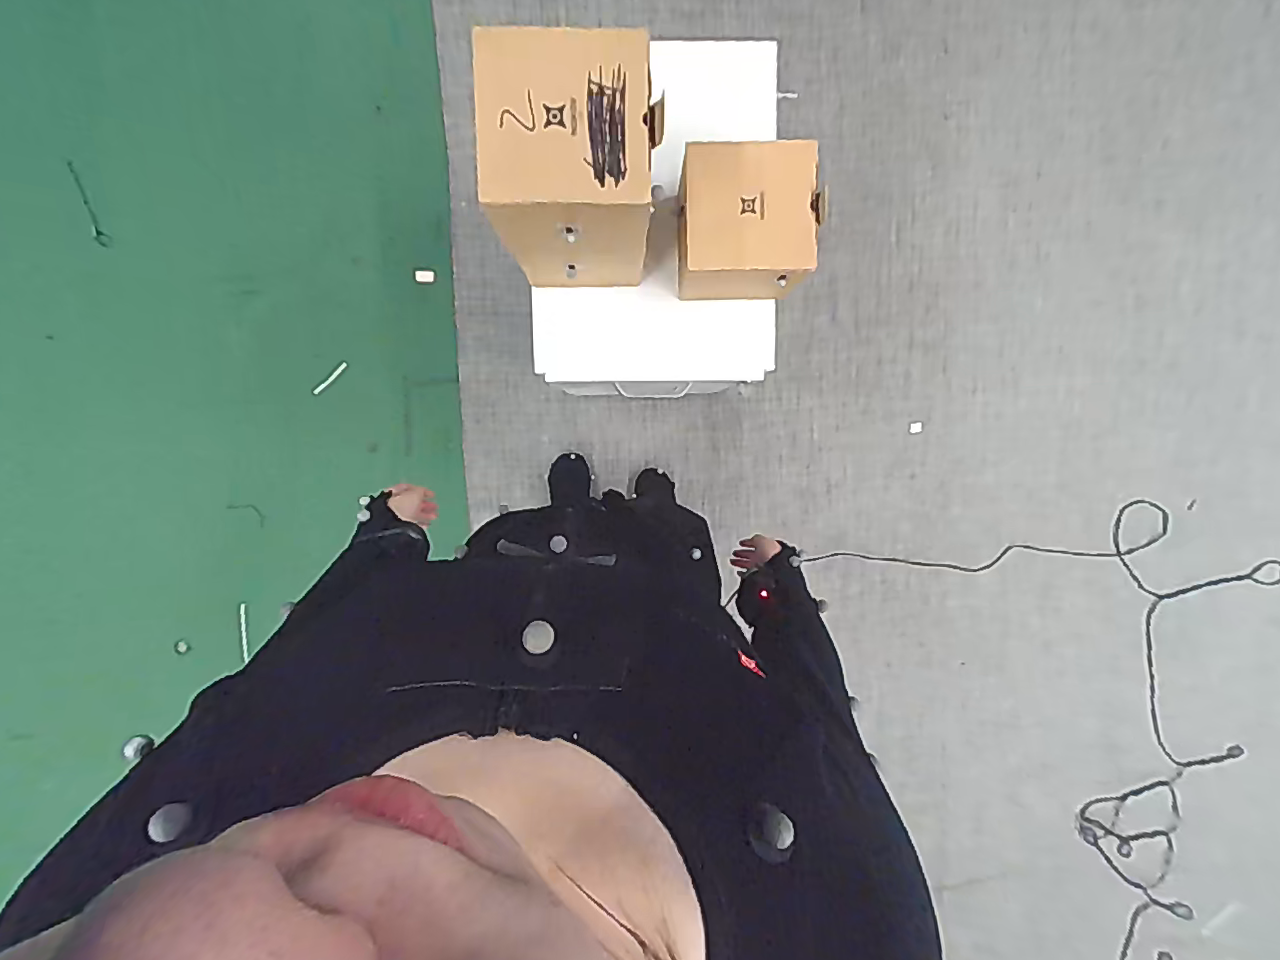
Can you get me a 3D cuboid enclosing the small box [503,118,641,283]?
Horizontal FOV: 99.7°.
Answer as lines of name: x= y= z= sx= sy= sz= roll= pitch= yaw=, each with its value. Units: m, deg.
small box: x=-0.089 y=-0.387 z=0.777 sx=0.179 sy=0.176 sz=0.168 roll=-2 pitch=96 yaw=-2
